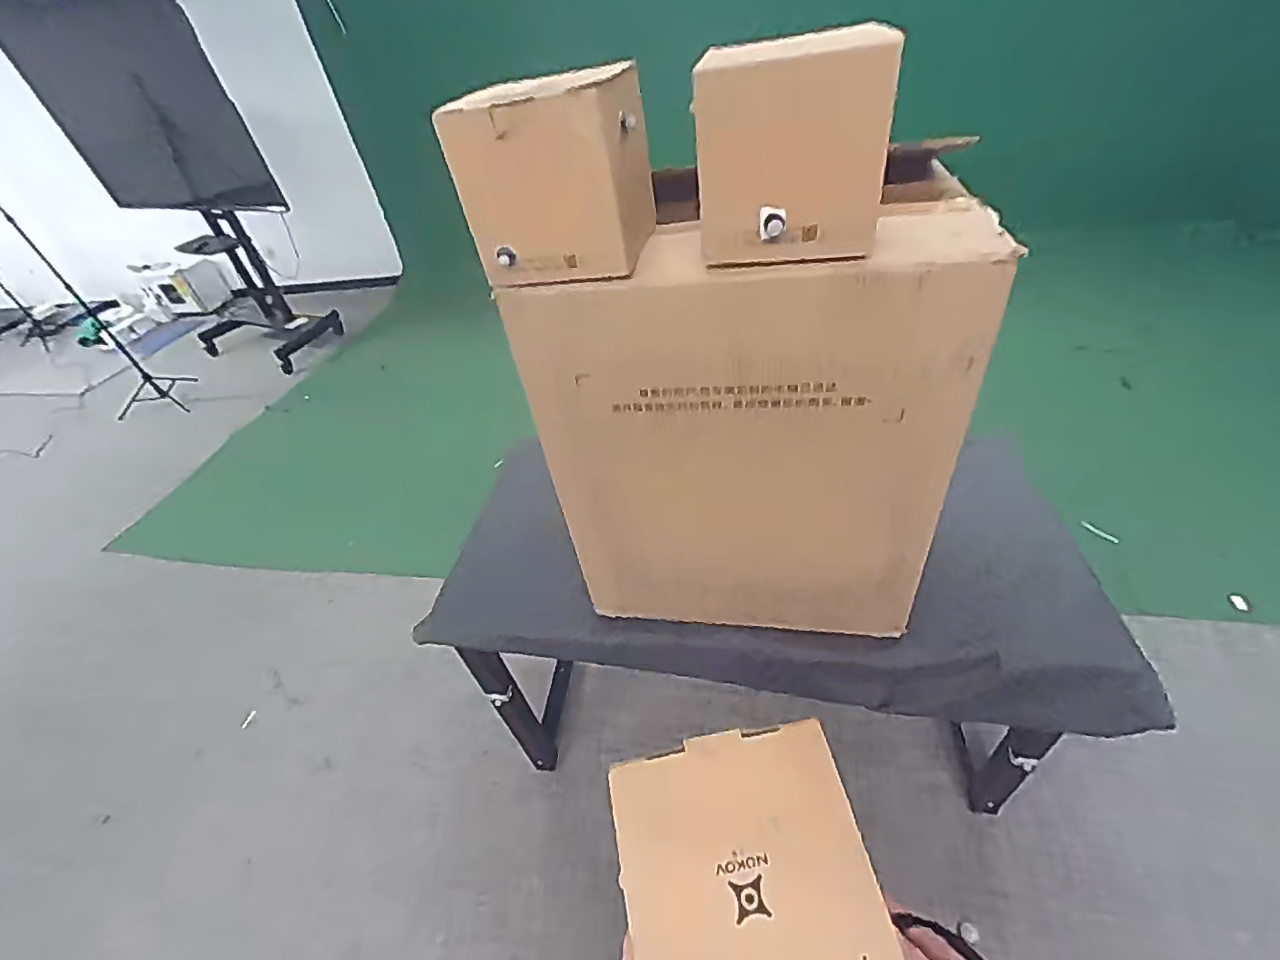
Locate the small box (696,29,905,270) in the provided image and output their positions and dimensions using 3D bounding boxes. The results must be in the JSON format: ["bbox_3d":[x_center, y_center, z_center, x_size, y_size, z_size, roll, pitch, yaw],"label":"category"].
[{"bbox_3d":[0.152,-0.329,0.546,0.168,0.176,0.179,0,43,13],"label":"small box"}]

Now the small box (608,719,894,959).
[{"bbox_3d":[0.077,0.312,0.426,0.168,0.176,0.179,-13,54,1],"label":"small box"}]

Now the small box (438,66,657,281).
[{"bbox_3d":[-0.083,-0.330,0.598,0.168,0.176,0.179,1,42,15],"label":"small box"}]
